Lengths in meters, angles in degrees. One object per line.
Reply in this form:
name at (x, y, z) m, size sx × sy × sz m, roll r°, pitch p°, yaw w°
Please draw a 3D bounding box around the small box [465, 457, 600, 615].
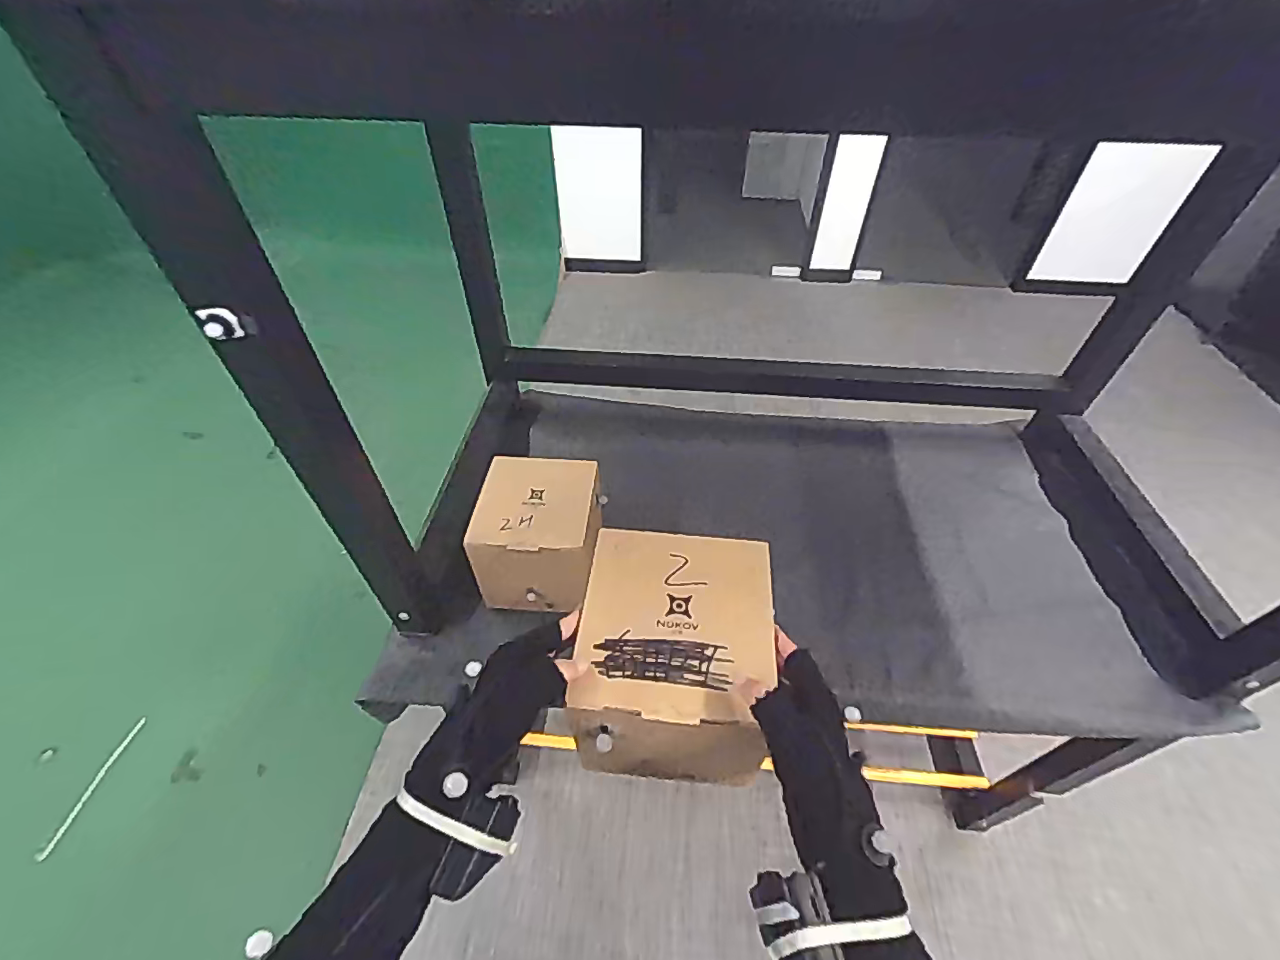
small box at (-0.154, 0.086, 0.844) m, size 0.168 × 0.176 × 0.179 m, roll 3°, pitch 46°, yaw 2°
